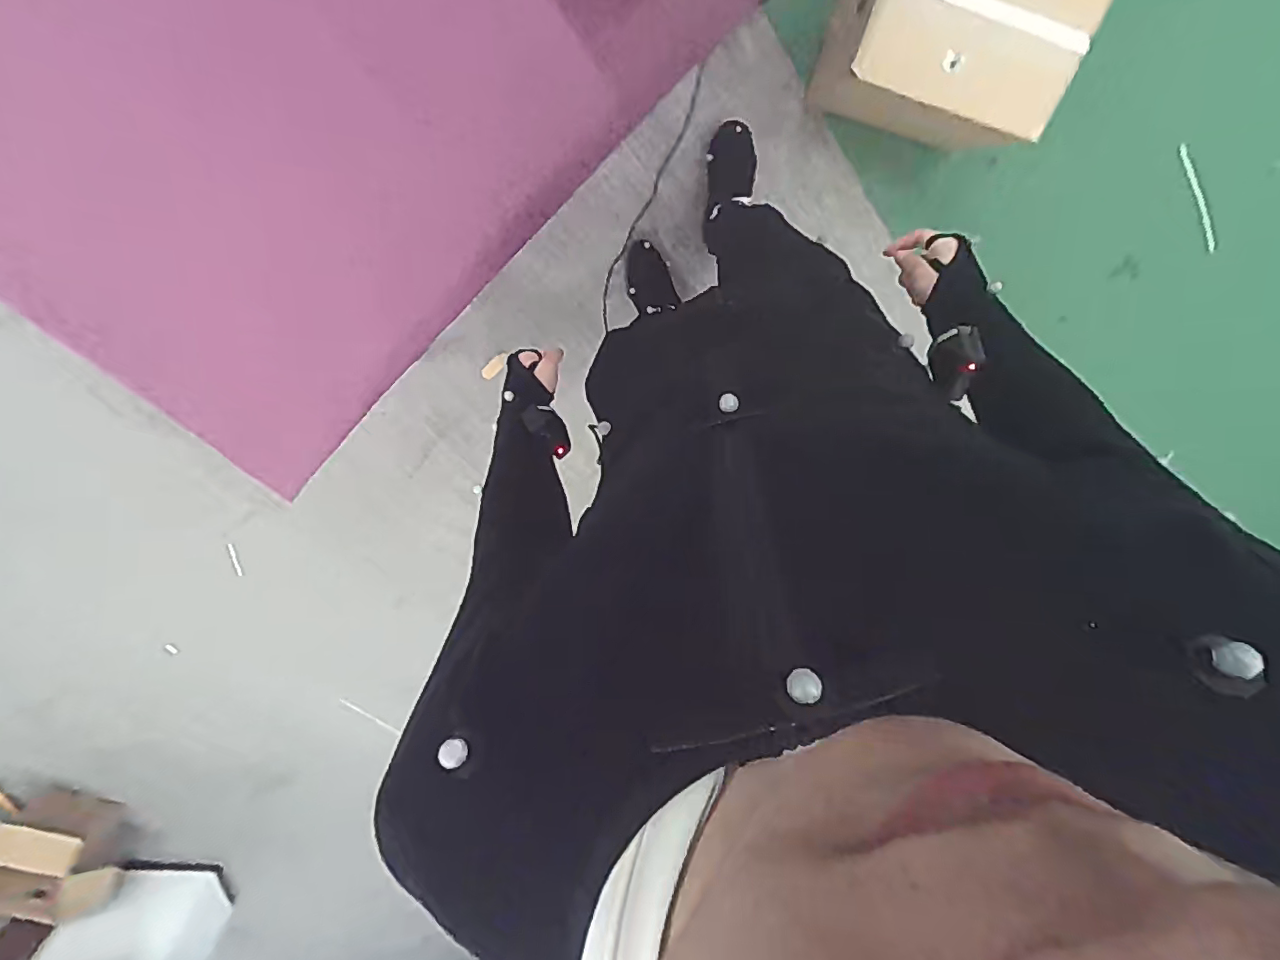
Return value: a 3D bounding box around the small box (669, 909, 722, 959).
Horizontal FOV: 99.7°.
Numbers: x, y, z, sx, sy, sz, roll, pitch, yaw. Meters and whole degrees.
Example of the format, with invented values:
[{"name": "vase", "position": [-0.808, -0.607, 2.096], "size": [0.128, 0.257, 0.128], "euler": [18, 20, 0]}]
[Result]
[{"name": "small box", "position": [0.196, 1.705, 1.975], "size": [0.168, 0.176, 0.179], "euler": [3, 117, -3]}]
